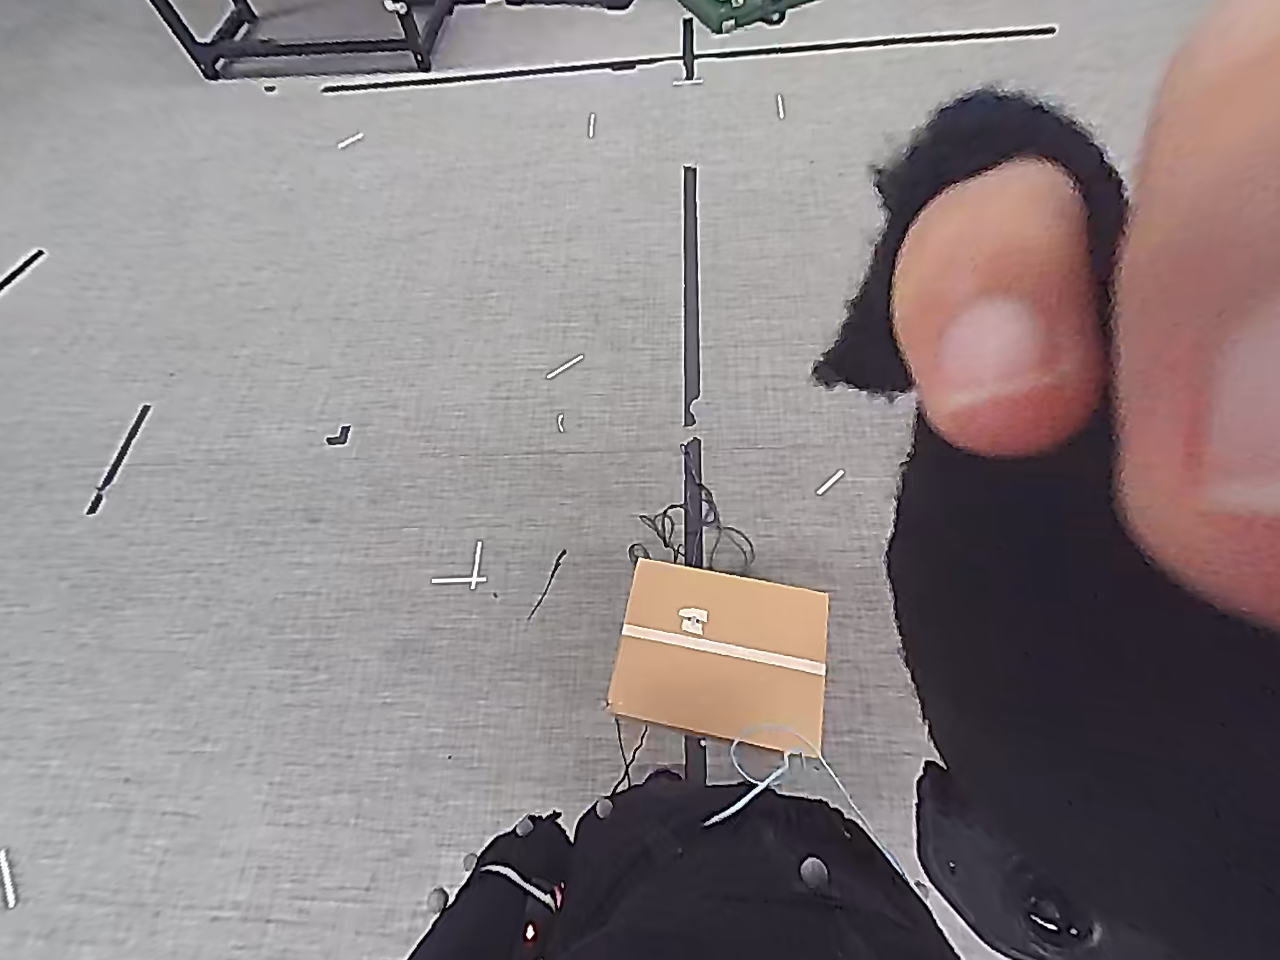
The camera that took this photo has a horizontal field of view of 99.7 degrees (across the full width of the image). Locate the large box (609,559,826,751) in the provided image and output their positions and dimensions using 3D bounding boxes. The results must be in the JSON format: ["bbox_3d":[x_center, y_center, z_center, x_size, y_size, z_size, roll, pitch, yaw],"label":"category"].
[{"bbox_3d":[0.172,0.399,1.211,0.408,0.320,0.320,10,64,8],"label":"large box"}]
